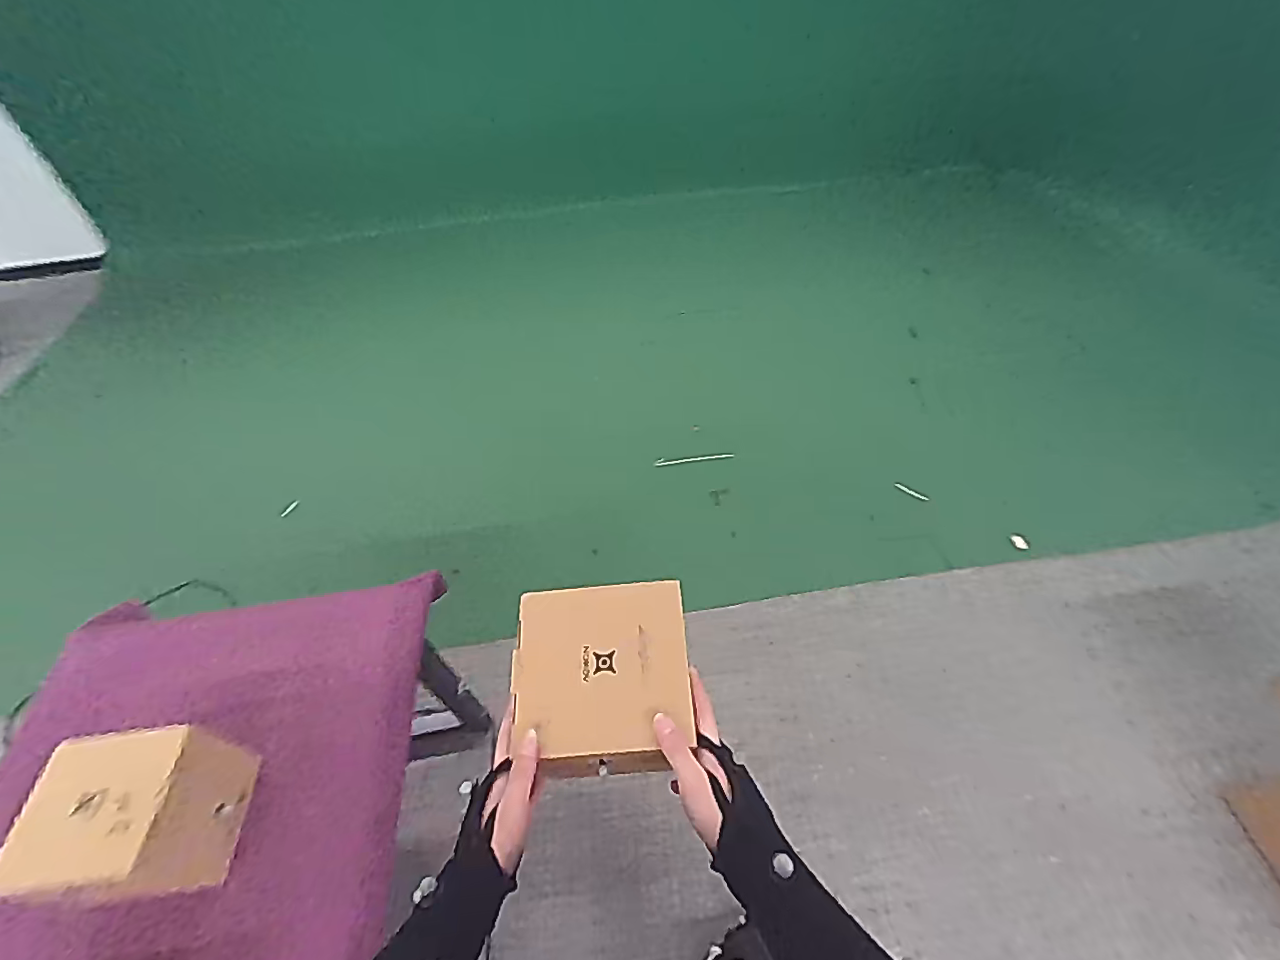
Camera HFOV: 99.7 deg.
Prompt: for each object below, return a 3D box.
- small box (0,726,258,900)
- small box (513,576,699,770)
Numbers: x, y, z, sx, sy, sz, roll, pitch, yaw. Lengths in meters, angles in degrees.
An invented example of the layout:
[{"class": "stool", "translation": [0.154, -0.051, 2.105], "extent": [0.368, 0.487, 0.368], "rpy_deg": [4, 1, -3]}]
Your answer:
[{"class": "small box", "translation": [-0.673, 0.450, 0.728], "extent": [0.179, 0.176, 0.168], "rpy_deg": [-7, 50, -2]}, {"class": "small box", "translation": [-0.027, 0.222, 0.607], "extent": [0.179, 0.176, 0.168], "rpy_deg": [-4, 55, 3]}]
